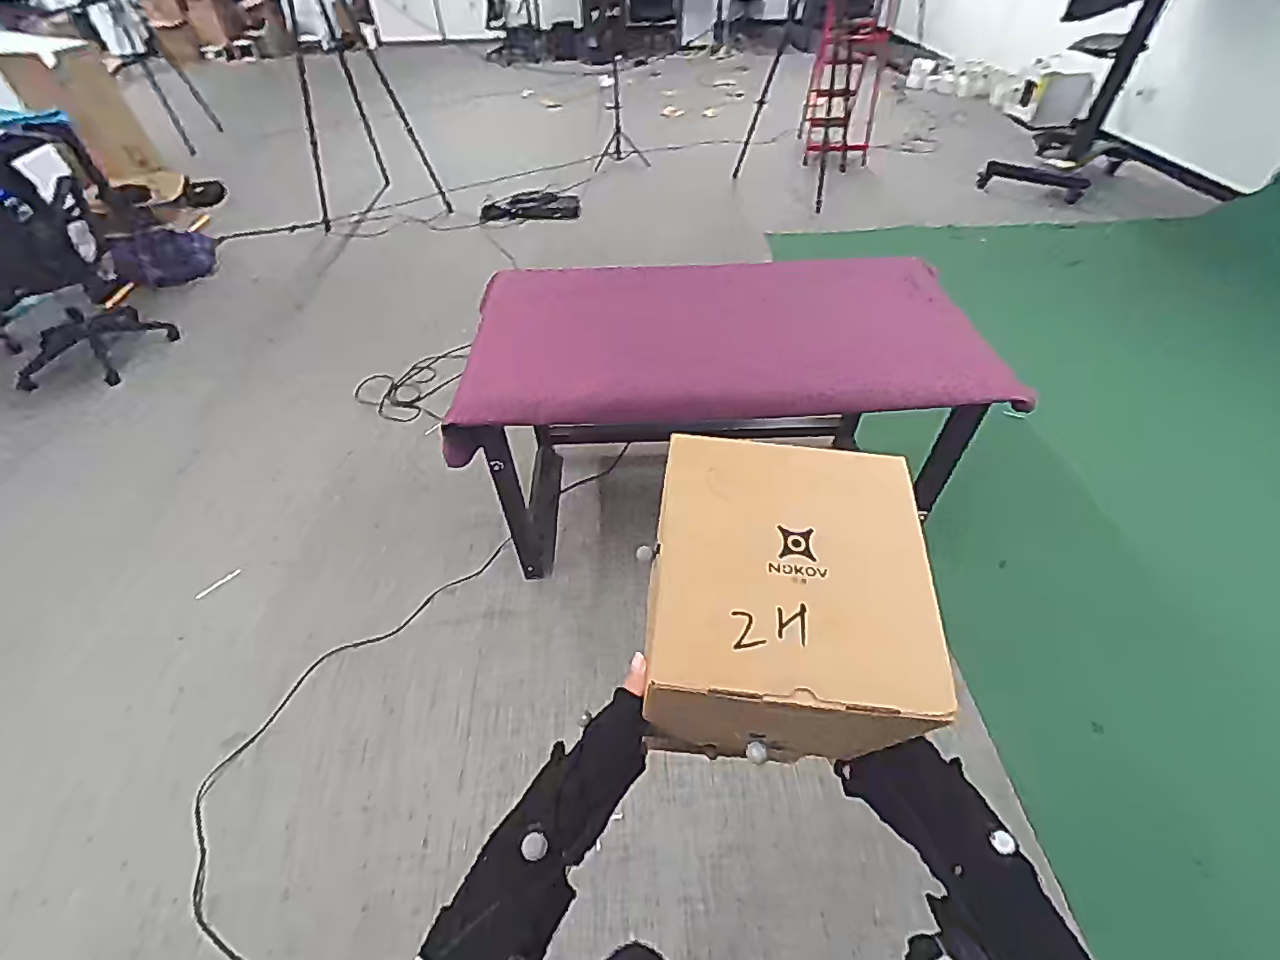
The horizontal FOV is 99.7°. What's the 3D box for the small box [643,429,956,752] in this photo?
[{"bbox_3d":[0.093,0.088,0.402,0.168,0.176,0.179,6,57,1],"label":"small box"}]
